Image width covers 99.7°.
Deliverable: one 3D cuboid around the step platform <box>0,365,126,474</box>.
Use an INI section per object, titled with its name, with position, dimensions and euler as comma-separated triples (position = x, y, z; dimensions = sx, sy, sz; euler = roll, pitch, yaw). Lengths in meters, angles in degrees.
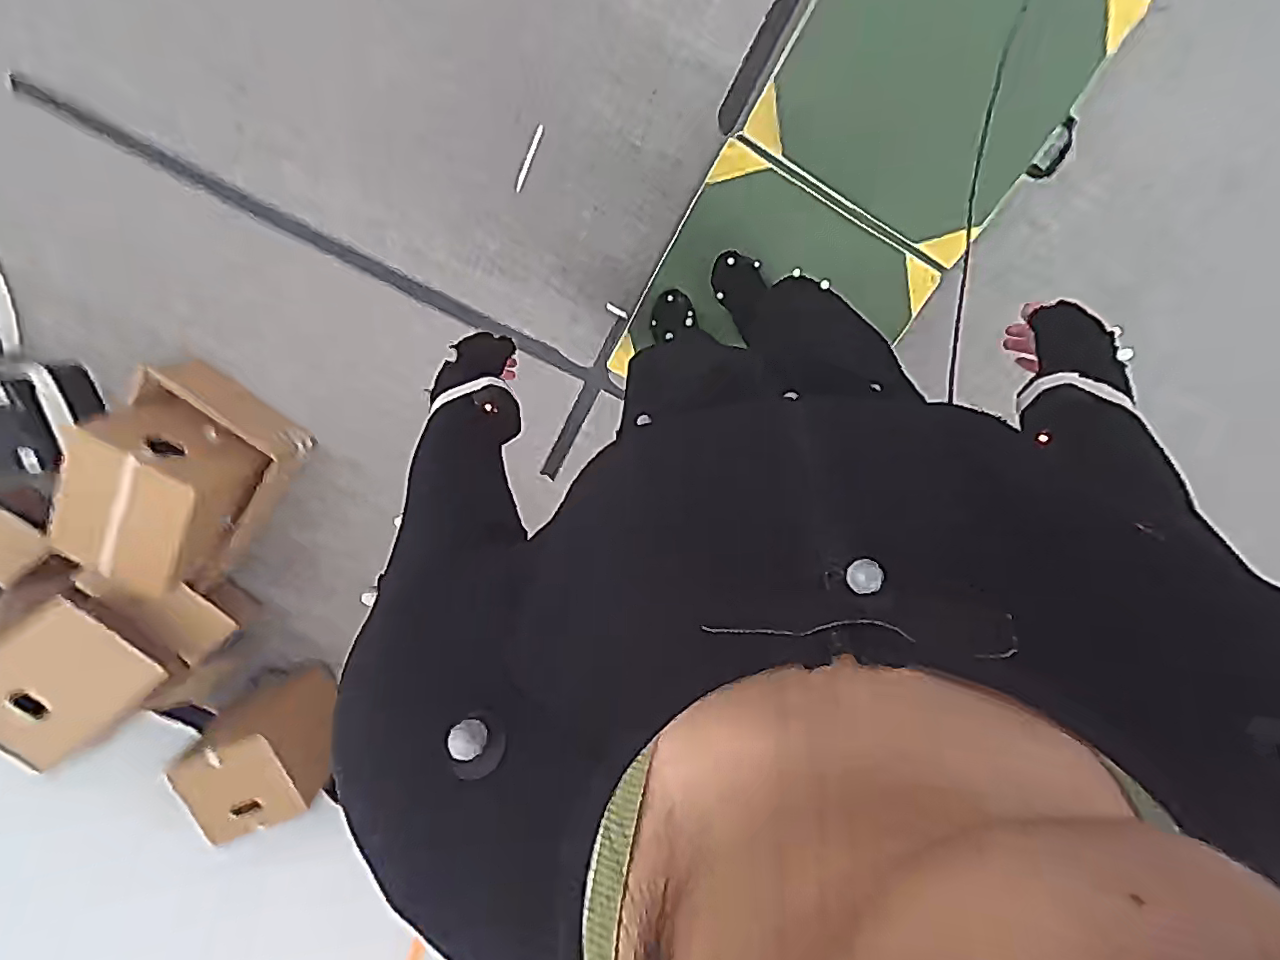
[step platform]
position = -1.954, -0.178, 1.596
dimensions = 0.684, 0.204, 0.286
euler = 0, 113, 4
